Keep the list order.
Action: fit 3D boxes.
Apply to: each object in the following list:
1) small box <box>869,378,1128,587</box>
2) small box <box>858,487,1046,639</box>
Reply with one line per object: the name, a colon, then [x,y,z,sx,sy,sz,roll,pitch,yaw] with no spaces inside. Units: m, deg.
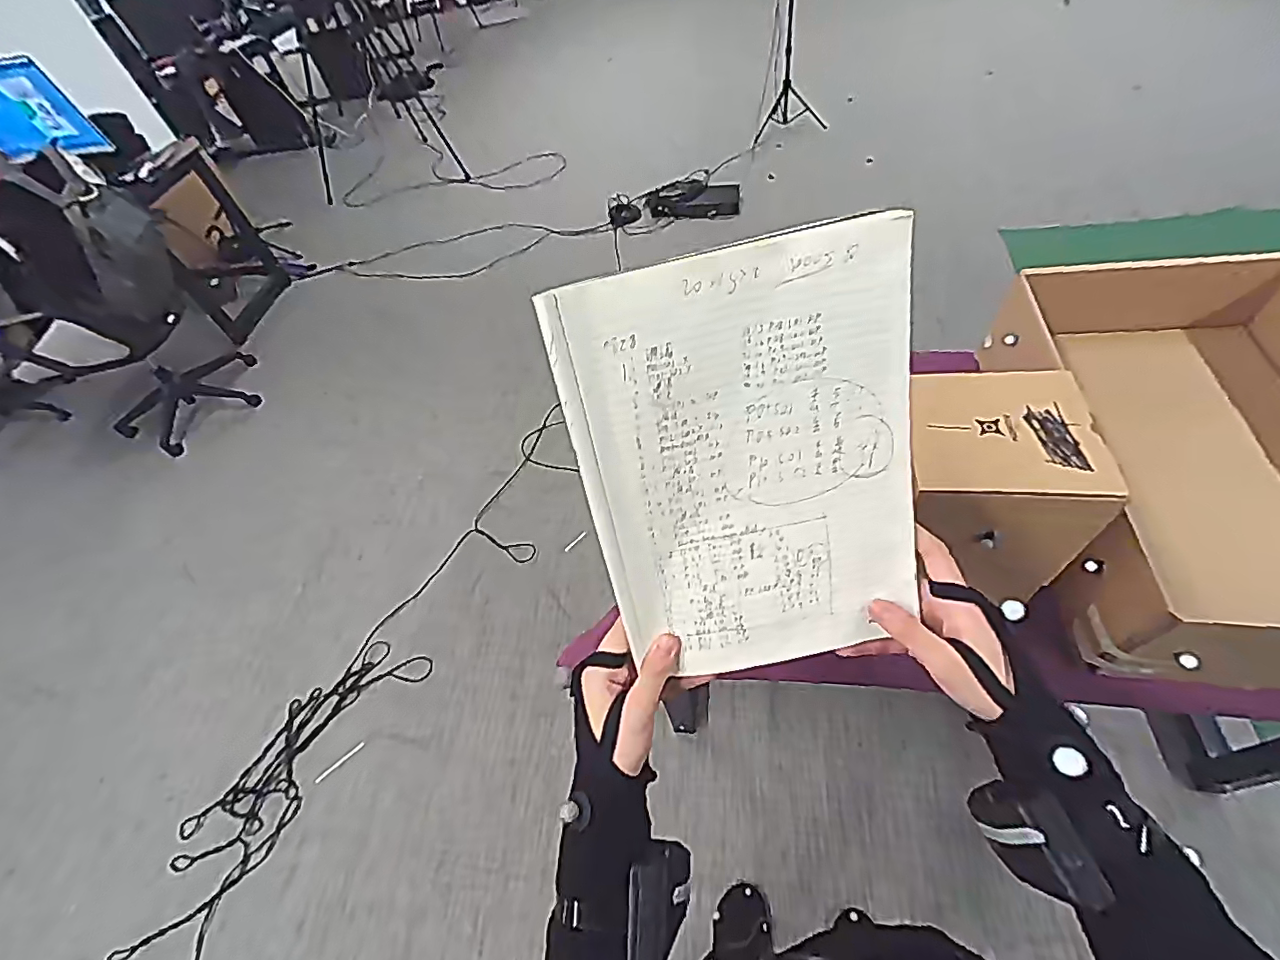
small box: [0.367,0.006,0.598,0.179,0.176,0.168,1,51,12]
small box: [0.399,0.099,0.729,0.168,0.176,0.179,2,51,12]
